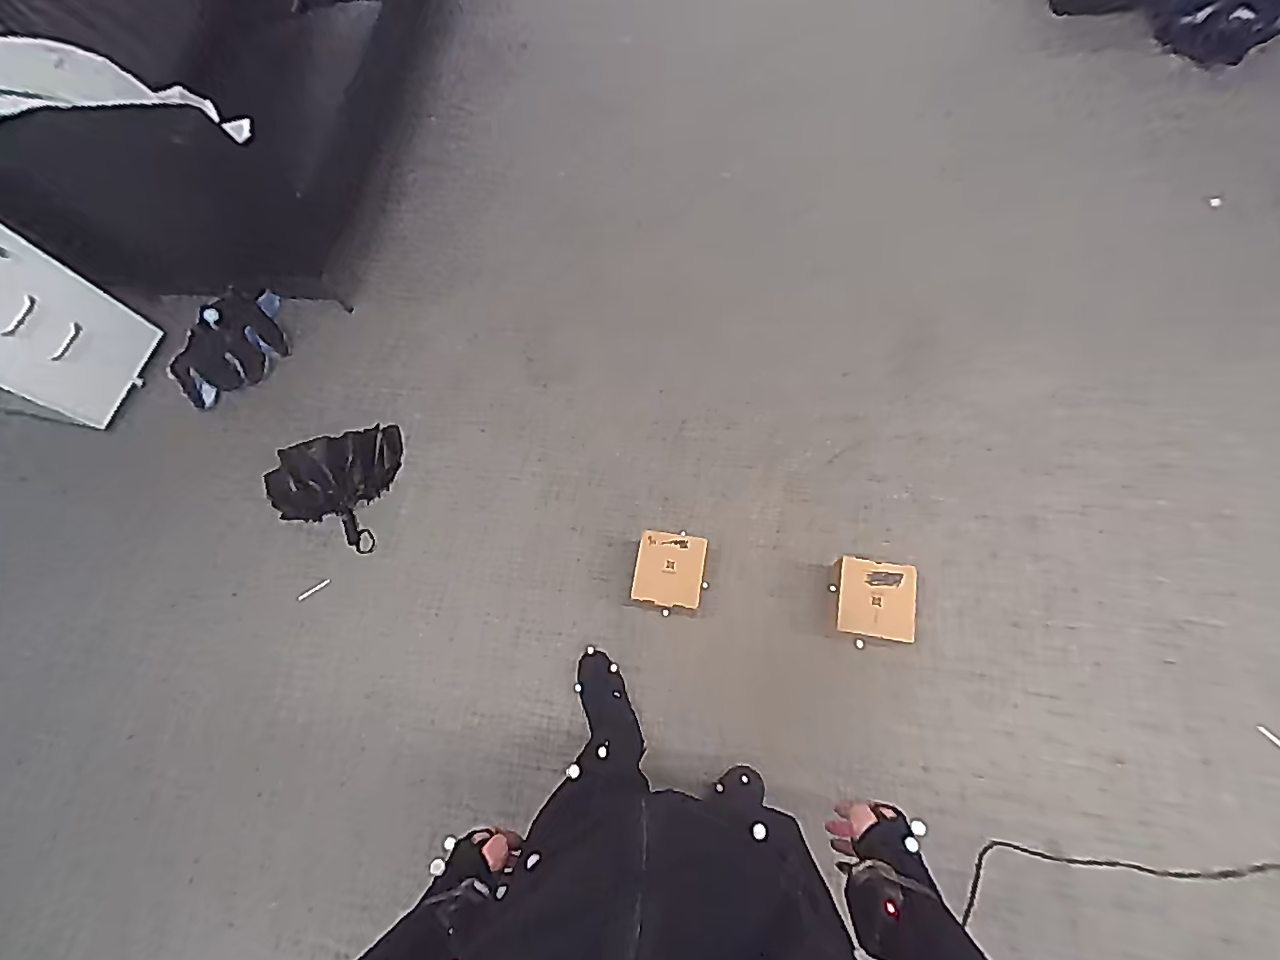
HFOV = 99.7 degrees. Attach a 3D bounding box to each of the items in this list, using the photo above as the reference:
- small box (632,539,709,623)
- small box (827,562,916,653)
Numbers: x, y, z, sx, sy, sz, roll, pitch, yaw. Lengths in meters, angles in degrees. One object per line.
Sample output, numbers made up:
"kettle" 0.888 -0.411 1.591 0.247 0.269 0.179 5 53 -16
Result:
"small box" 0.087 0.267 1.398 0.168 0.176 0.179 7 70 11
"small box" 0.553 0.312 1.307 0.168 0.176 0.179 7 71 12
